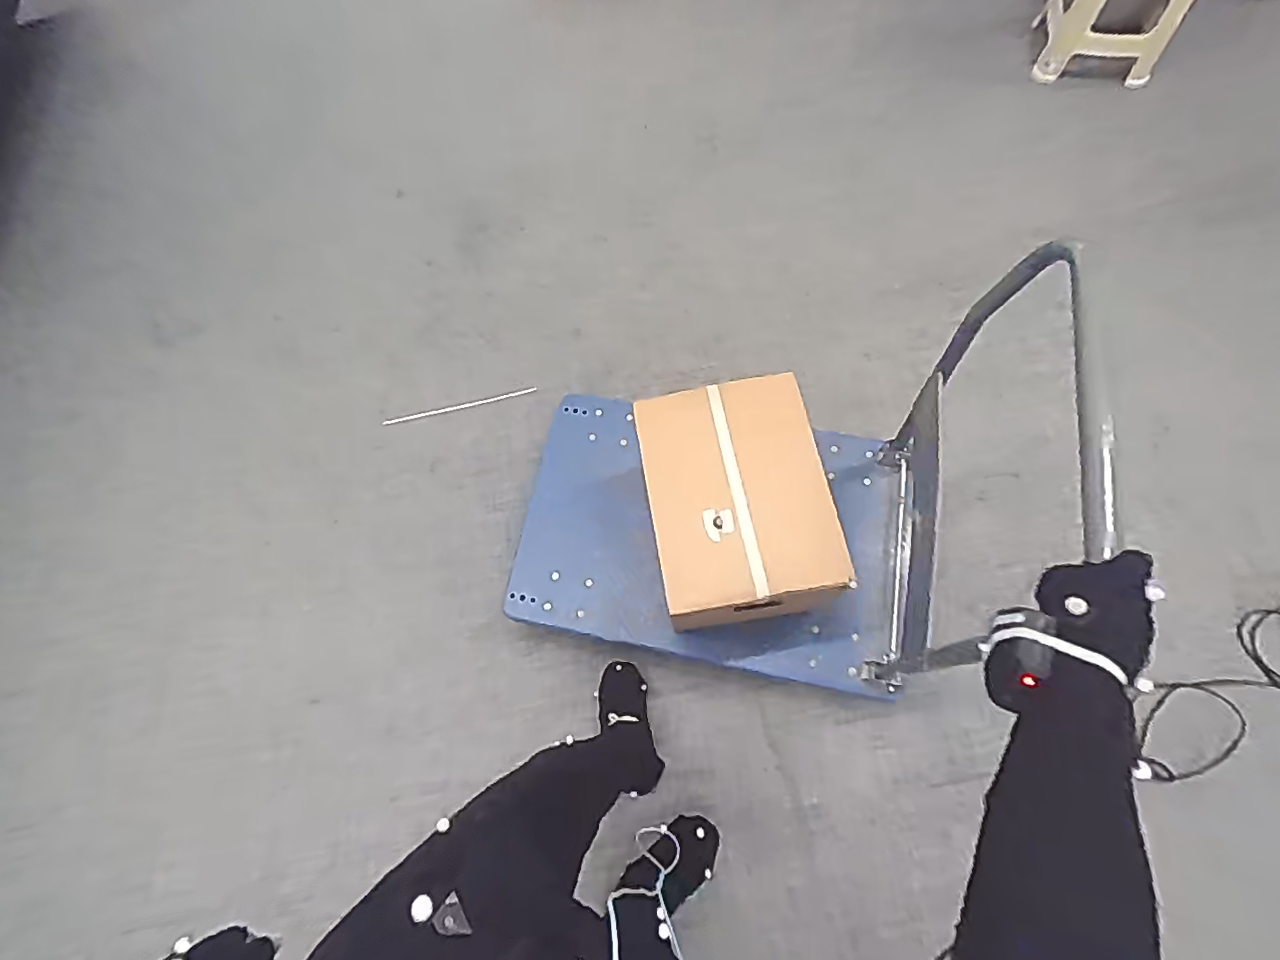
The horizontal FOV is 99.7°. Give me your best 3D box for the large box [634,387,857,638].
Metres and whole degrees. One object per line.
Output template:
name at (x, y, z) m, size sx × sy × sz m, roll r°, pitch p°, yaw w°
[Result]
large box at (0.185, 0.081, 1.101) m, size 0.320 × 0.320 × 0.408 m, roll -11°, pitch 68°, yaw 1°
